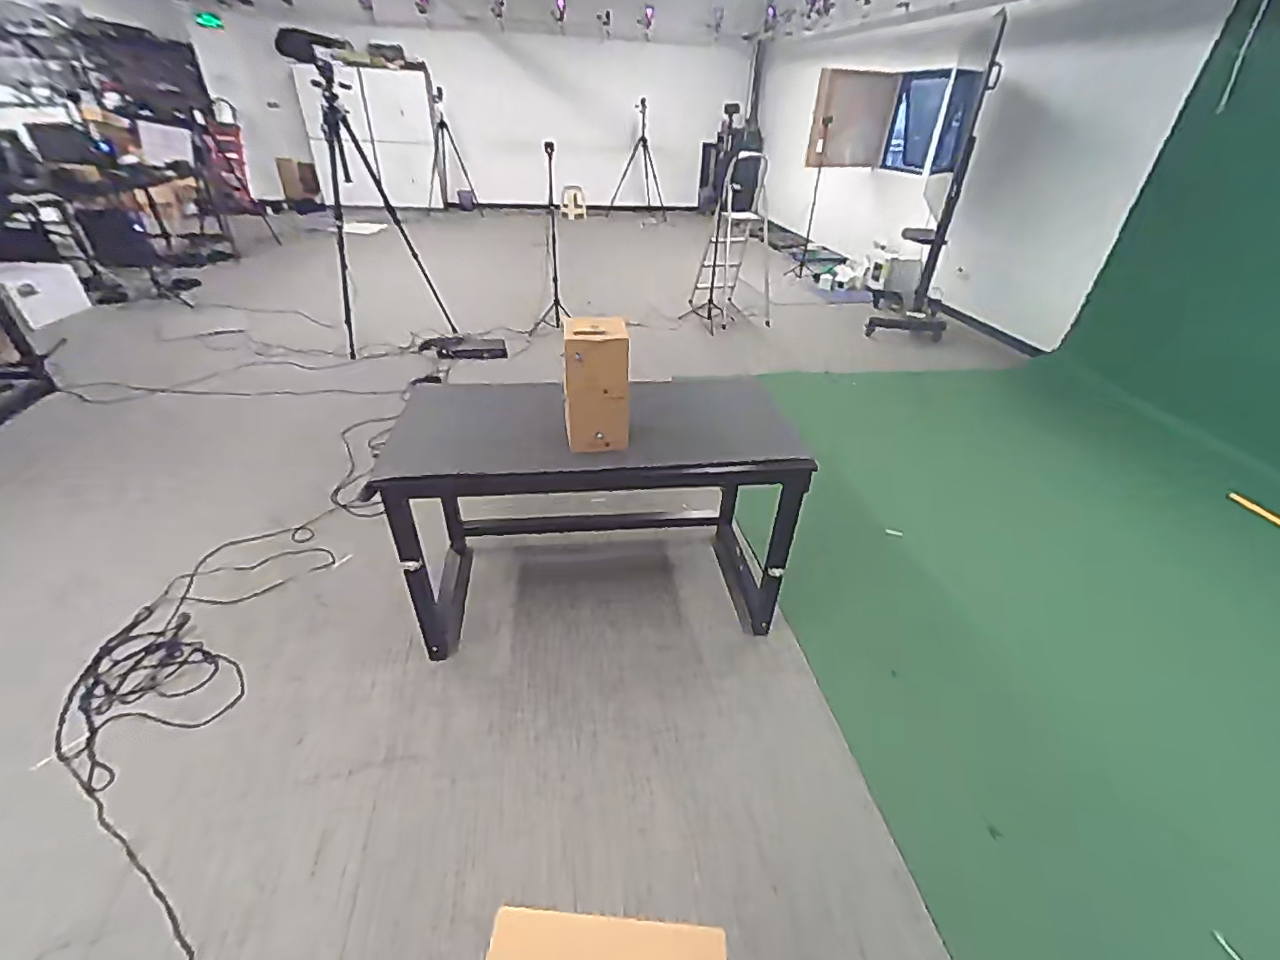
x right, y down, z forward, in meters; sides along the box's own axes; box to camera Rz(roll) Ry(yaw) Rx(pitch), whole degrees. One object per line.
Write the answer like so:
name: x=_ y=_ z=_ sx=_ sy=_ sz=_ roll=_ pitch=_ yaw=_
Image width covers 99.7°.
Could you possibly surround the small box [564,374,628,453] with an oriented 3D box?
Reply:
small box: x=-0.131 y=-0.193 z=1.562 sx=0.168 sy=0.176 sz=0.179 roll=-5 pitch=34 yaw=-10
